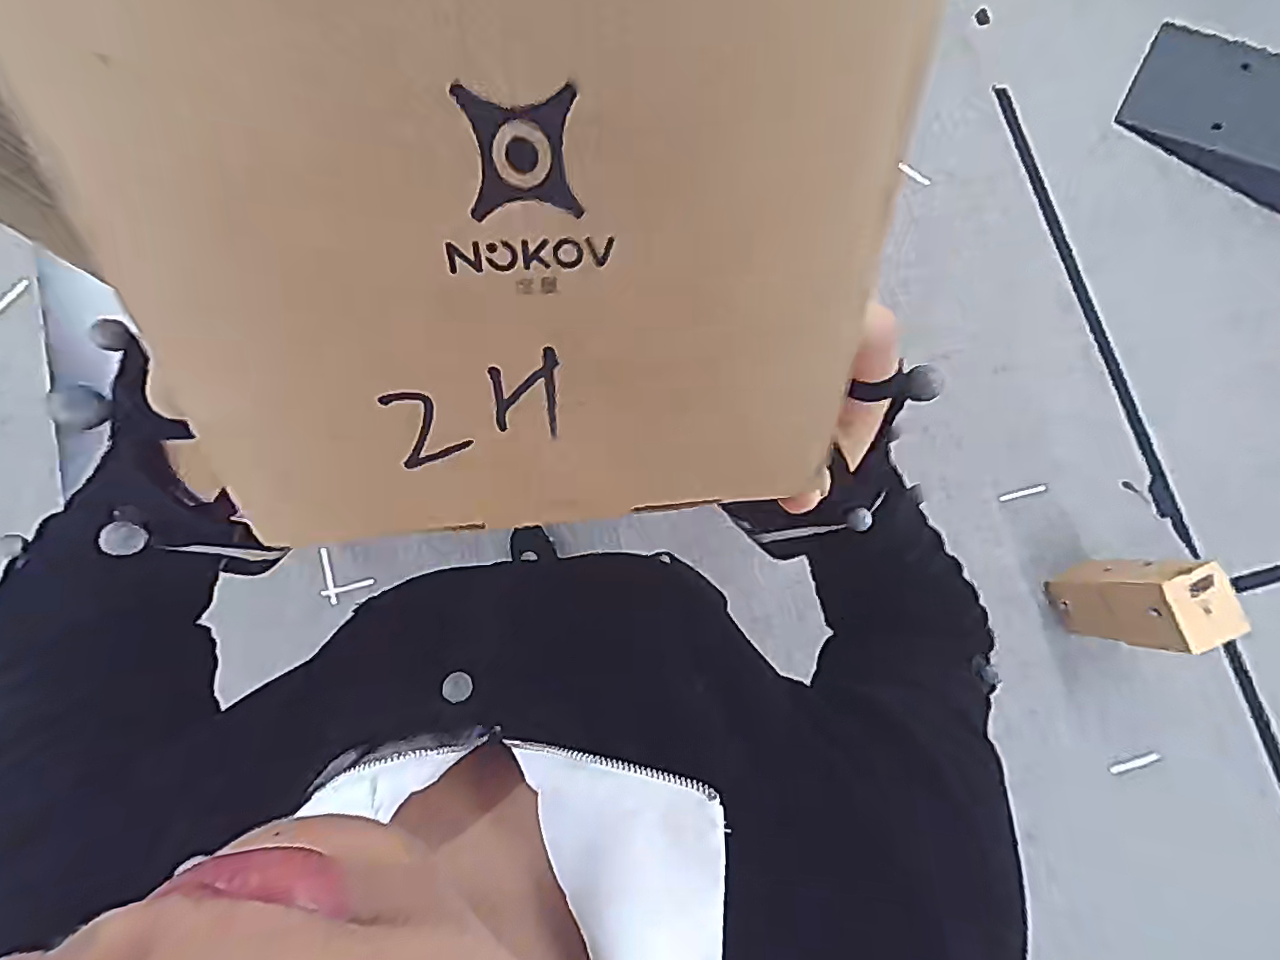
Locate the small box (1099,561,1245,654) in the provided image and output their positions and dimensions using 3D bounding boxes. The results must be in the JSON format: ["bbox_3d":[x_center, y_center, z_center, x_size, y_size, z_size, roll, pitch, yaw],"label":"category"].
[{"bbox_3d":[1.304,0.311,1.341,0.168,0.176,0.179,-19,83,-6],"label":"small box"}]

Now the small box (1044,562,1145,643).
[{"bbox_3d":[1.289,0.333,1.504,0.179,0.176,0.168,-21,82,-6],"label":"small box"}]

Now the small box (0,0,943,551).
[{"bbox_3d":[-0.036,-0.103,0.177,0.168,0.176,0.179,-4,126,-7],"label":"small box"}]
